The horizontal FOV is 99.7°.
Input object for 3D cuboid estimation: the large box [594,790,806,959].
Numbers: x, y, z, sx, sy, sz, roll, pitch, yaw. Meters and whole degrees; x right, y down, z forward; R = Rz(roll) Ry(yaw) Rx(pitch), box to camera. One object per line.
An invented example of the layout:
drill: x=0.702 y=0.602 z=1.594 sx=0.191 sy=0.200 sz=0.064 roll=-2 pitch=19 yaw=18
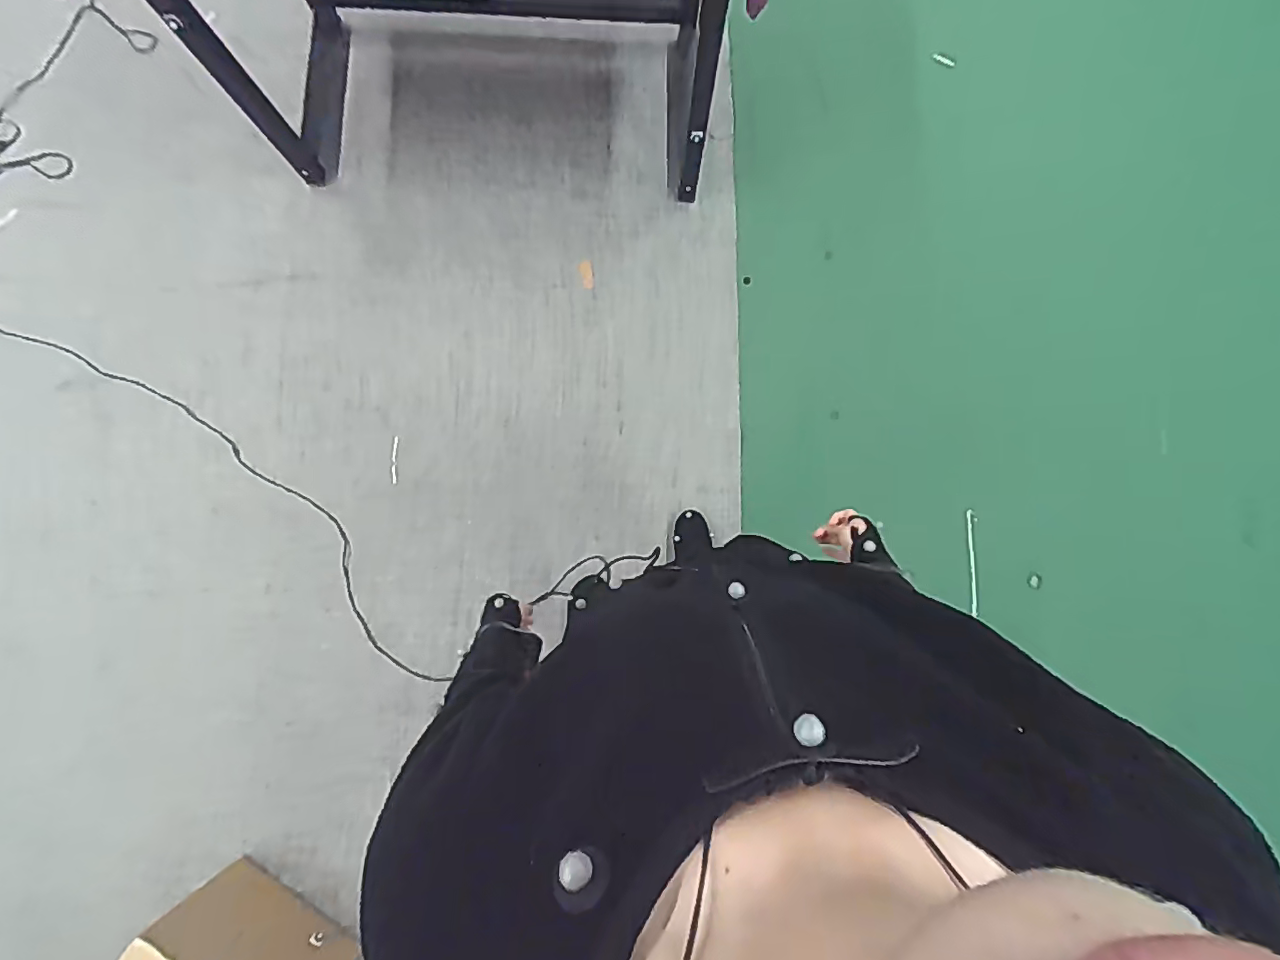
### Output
large box: x=0.126 y=0.993 z=1.260 sx=0.408 sy=0.320 sz=0.320 roll=-14 pitch=84 yaw=-4

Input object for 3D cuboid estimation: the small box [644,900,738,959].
small box: x=0.100 y=0.935 z=1.020 sx=0.168 sy=0.176 sz=0.179 roll=-8 pitch=82 yaw=-2
